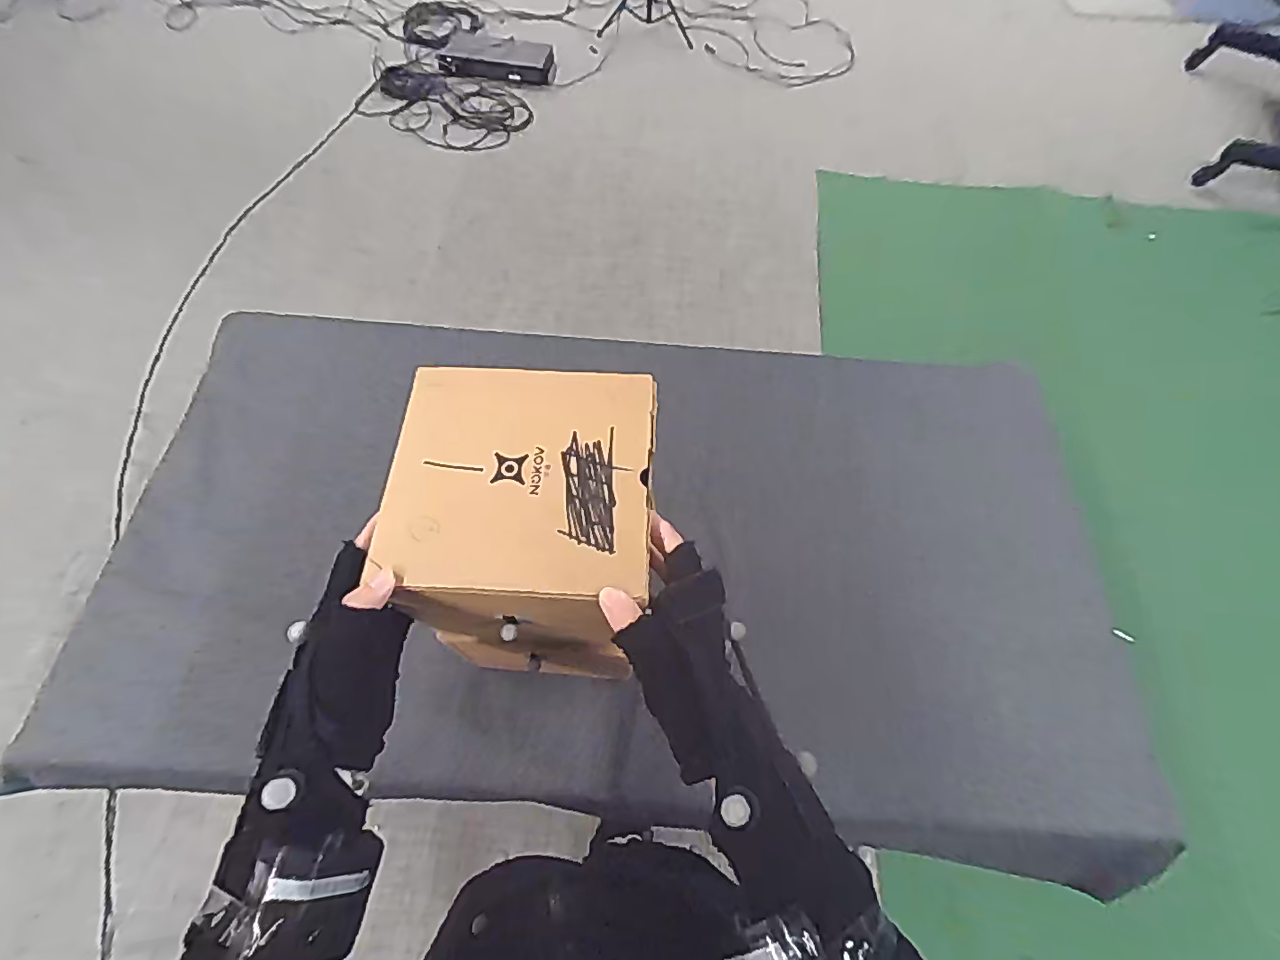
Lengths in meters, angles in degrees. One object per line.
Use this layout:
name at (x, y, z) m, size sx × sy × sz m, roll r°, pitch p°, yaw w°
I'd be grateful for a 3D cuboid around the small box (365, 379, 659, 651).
small box at (-0.079, 0.039, 0.434) m, size 0.179 × 0.176 × 0.168 m, roll 3°, pitch 64°, yaw 0°

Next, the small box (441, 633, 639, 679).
small box at (-0.086, 0.115, 0.579) m, size 0.179 × 0.176 × 0.168 m, roll 5°, pitch 64°, yaw -1°
